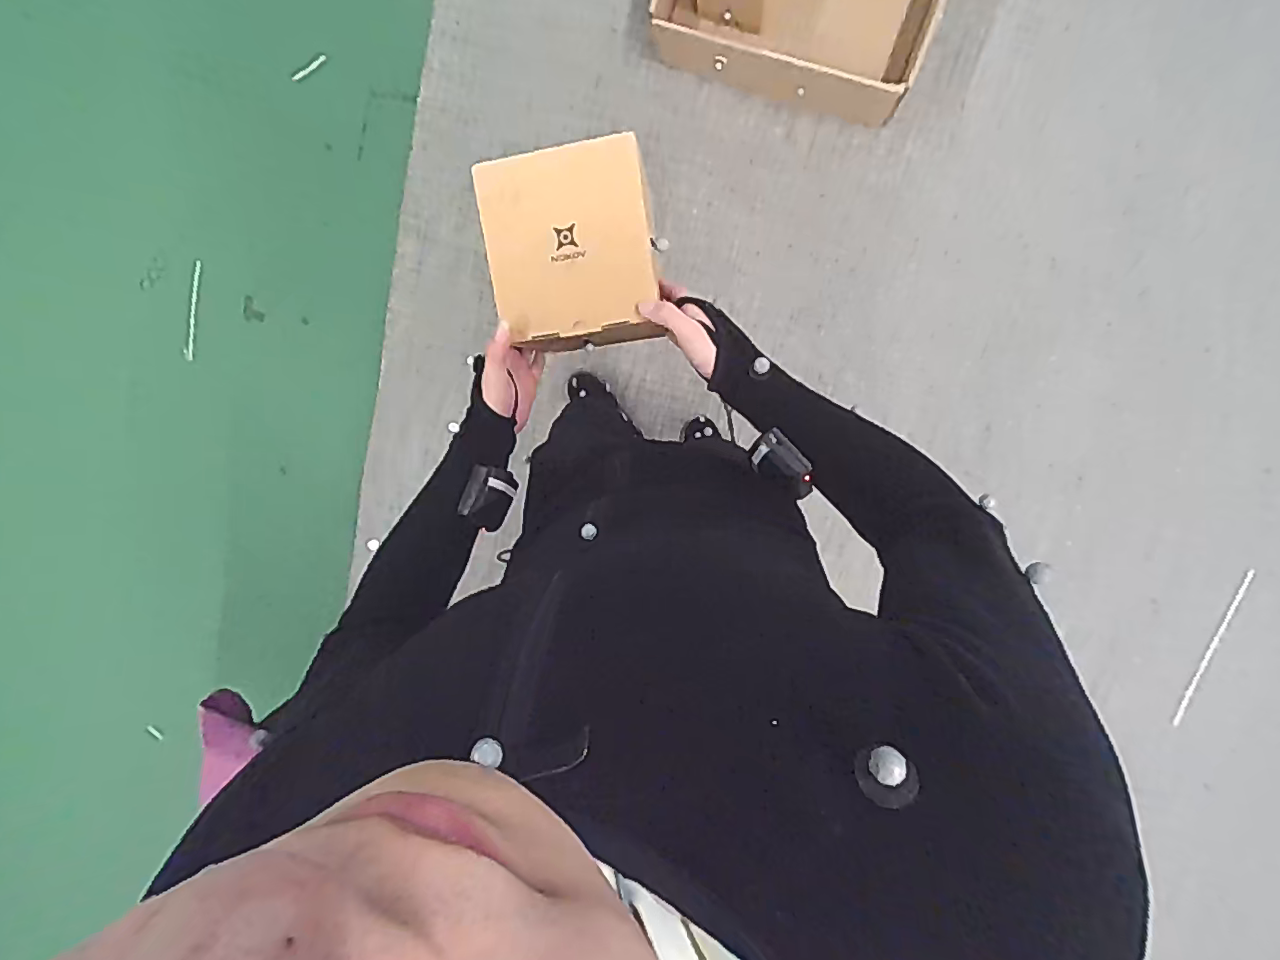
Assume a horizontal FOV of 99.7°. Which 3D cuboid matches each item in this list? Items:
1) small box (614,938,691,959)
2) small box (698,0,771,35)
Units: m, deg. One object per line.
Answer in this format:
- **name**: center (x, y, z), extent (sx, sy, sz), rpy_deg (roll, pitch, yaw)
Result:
- **small box**: center (0.011, 0.993, 0.972), extent (0.168, 0.176, 0.179), rpy_deg (13, 102, 5)
- **small box**: center (0.230, -1.177, 1.229), extent (0.168, 0.176, 0.179), rpy_deg (20, 101, 4)
